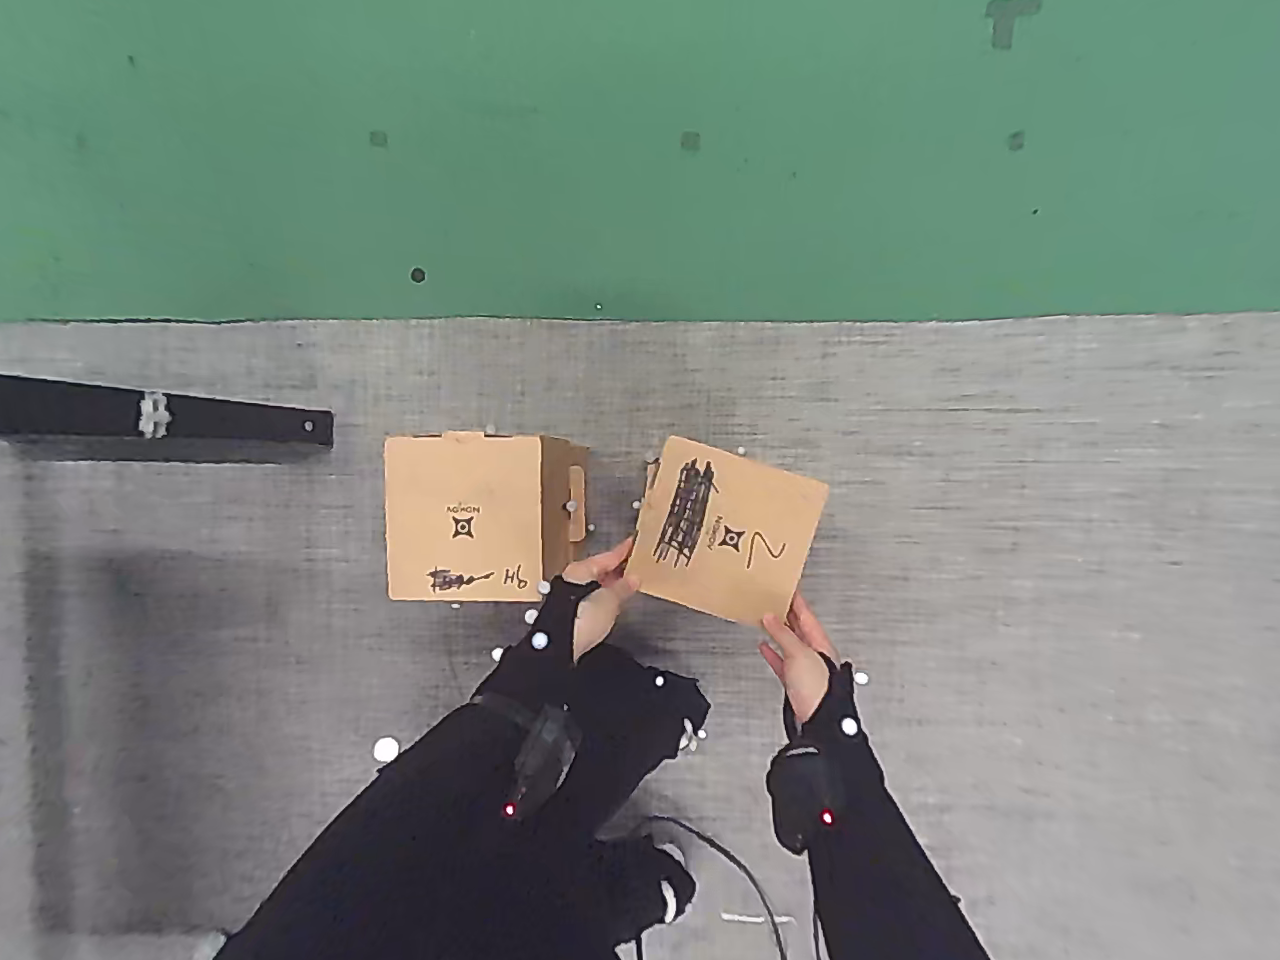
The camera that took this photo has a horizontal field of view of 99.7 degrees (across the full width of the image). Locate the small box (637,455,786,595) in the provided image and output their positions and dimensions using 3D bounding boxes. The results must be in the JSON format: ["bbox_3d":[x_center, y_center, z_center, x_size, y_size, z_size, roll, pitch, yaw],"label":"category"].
[{"bbox_3d":[0.096,0.055,0.794,0.179,0.176,0.168,9,93,1],"label":"small box"}]

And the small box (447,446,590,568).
[{"bbox_3d":[-0.168,0.032,0.805,0.179,0.176,0.168,-1,93,3],"label":"small box"}]
